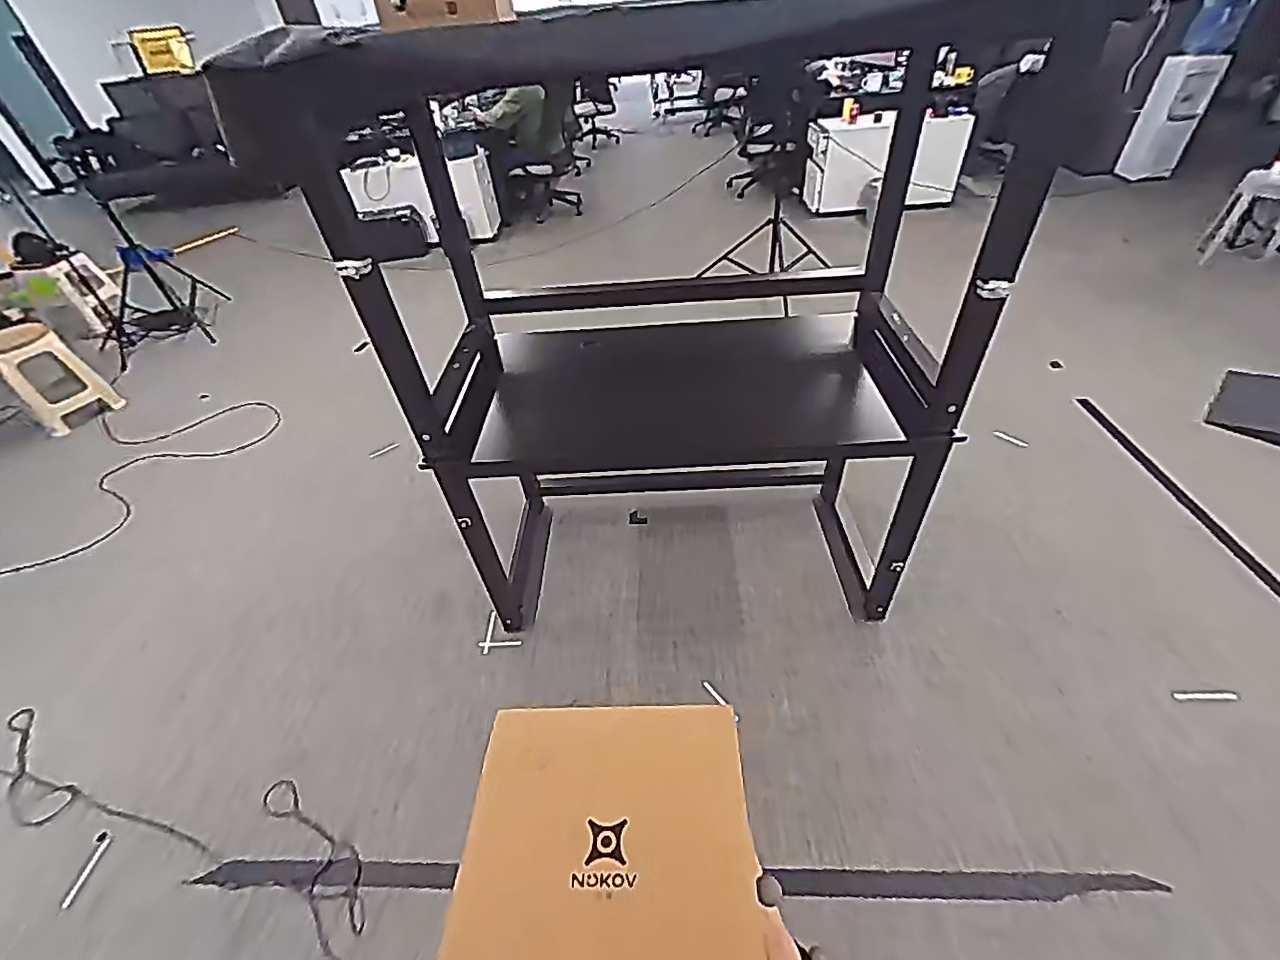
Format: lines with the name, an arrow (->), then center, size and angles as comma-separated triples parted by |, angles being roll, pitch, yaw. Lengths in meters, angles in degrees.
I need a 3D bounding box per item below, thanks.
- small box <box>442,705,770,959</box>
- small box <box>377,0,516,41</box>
small box -> -0.013, 0.273, 0.354 | 0.168, 0.176, 0.179 | -3, 37, 2
small box -> -0.280, -0.733, 0.759 | 0.168, 0.176, 0.179 | -4, 40, 1
